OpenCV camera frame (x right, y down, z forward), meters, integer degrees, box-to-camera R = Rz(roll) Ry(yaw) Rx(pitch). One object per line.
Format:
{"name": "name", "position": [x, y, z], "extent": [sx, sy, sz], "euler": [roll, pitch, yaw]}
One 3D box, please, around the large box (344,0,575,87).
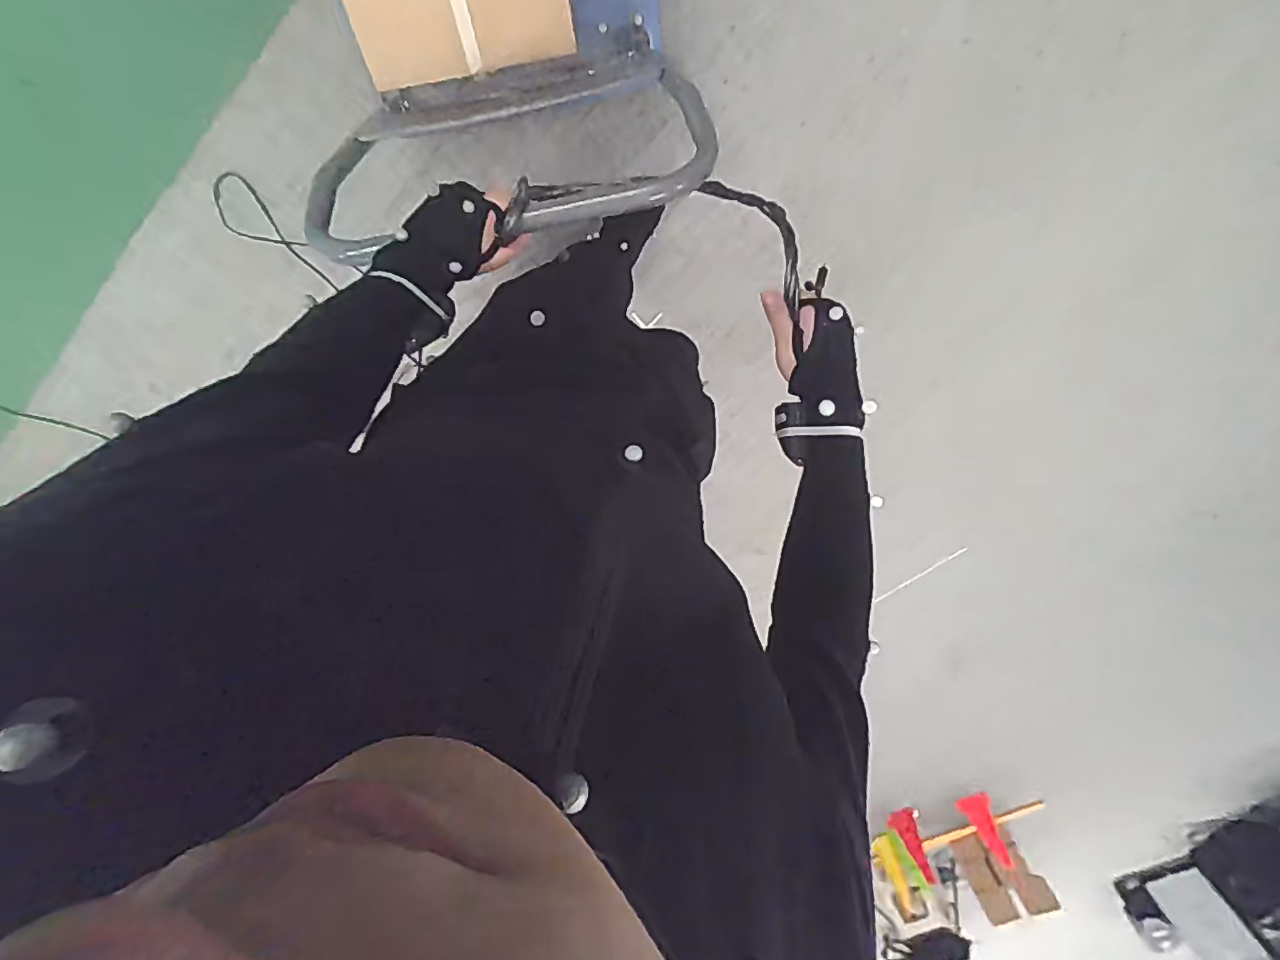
{"name": "large box", "position": [-0.290, -0.863, 0.797], "extent": [0.320, 0.320, 0.408], "euler": [-10, 131, 0]}
